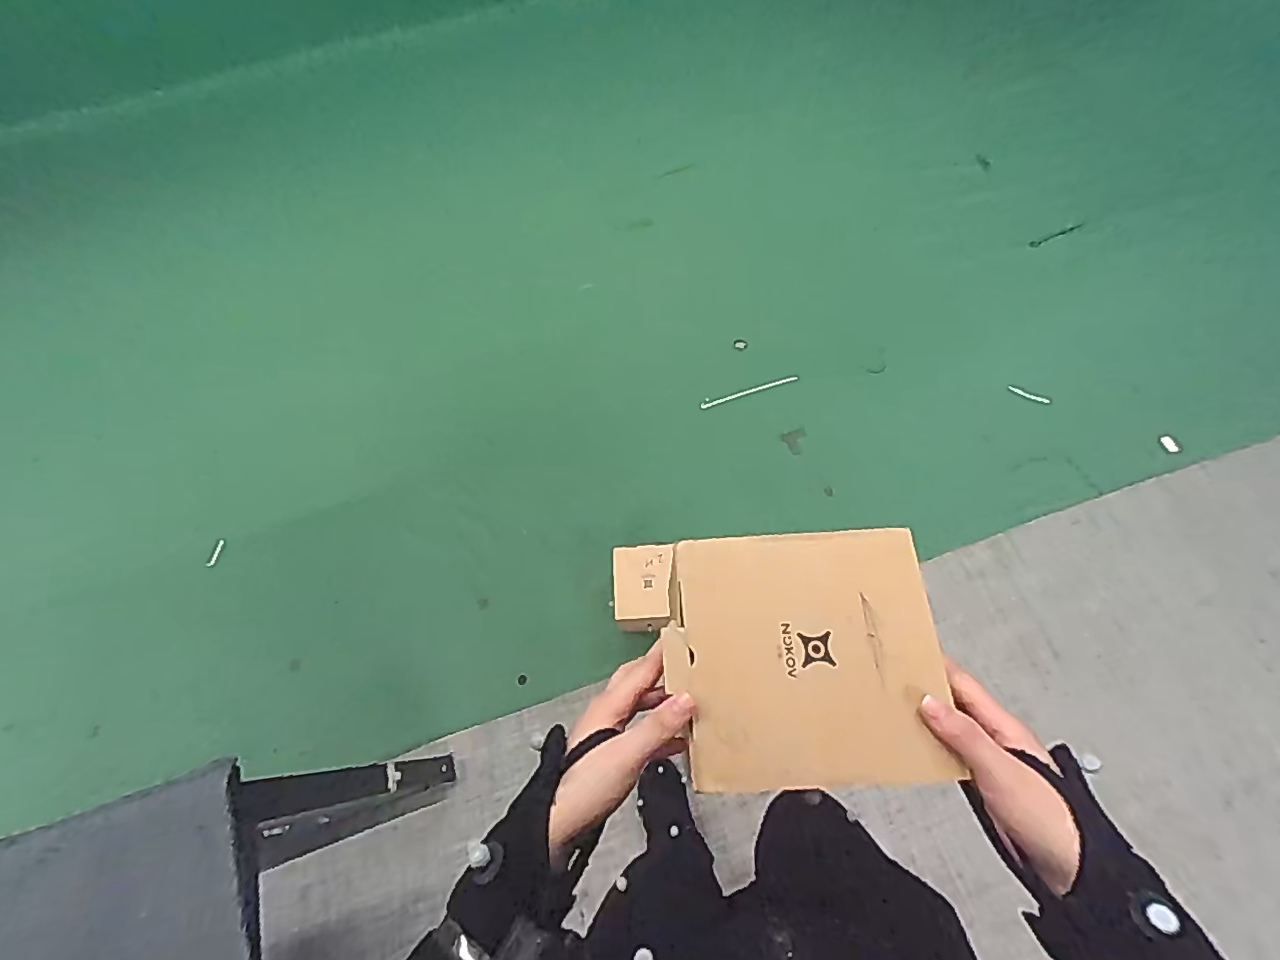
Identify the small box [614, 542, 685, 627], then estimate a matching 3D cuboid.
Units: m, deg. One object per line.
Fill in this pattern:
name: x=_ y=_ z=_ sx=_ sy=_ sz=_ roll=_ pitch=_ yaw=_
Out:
small box: x=0.025 y=0.264 z=1.335 sx=0.168 sy=0.176 sz=0.179 roll=-3 pitch=65 yaw=1
